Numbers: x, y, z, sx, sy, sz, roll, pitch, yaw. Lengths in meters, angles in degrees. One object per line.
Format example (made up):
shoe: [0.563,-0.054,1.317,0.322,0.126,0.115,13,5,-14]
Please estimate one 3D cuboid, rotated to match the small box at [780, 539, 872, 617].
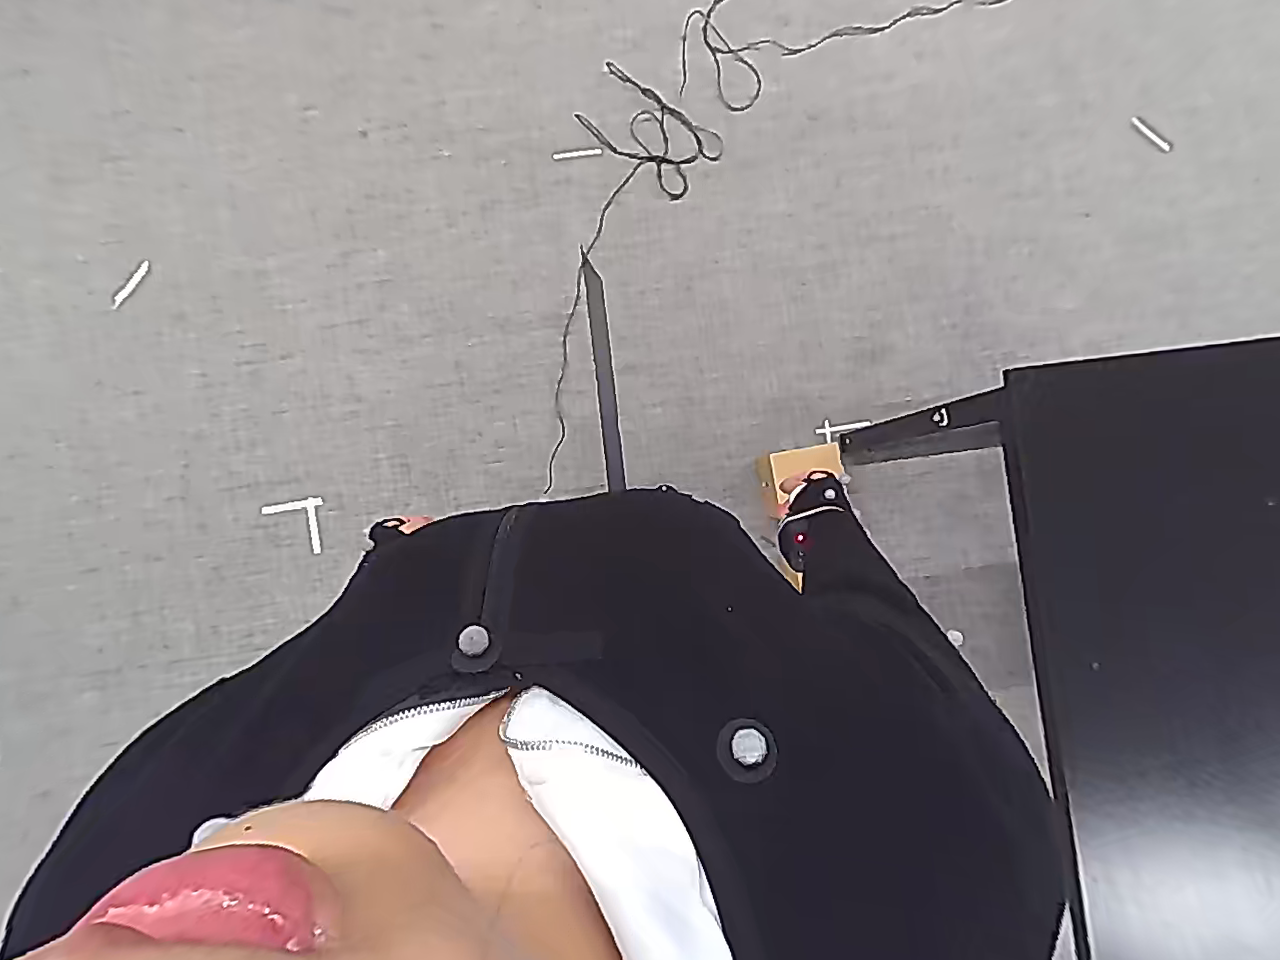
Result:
small box: [0.480,0.250,1.416,0.179,0.176,0.168,-8,88,2]
